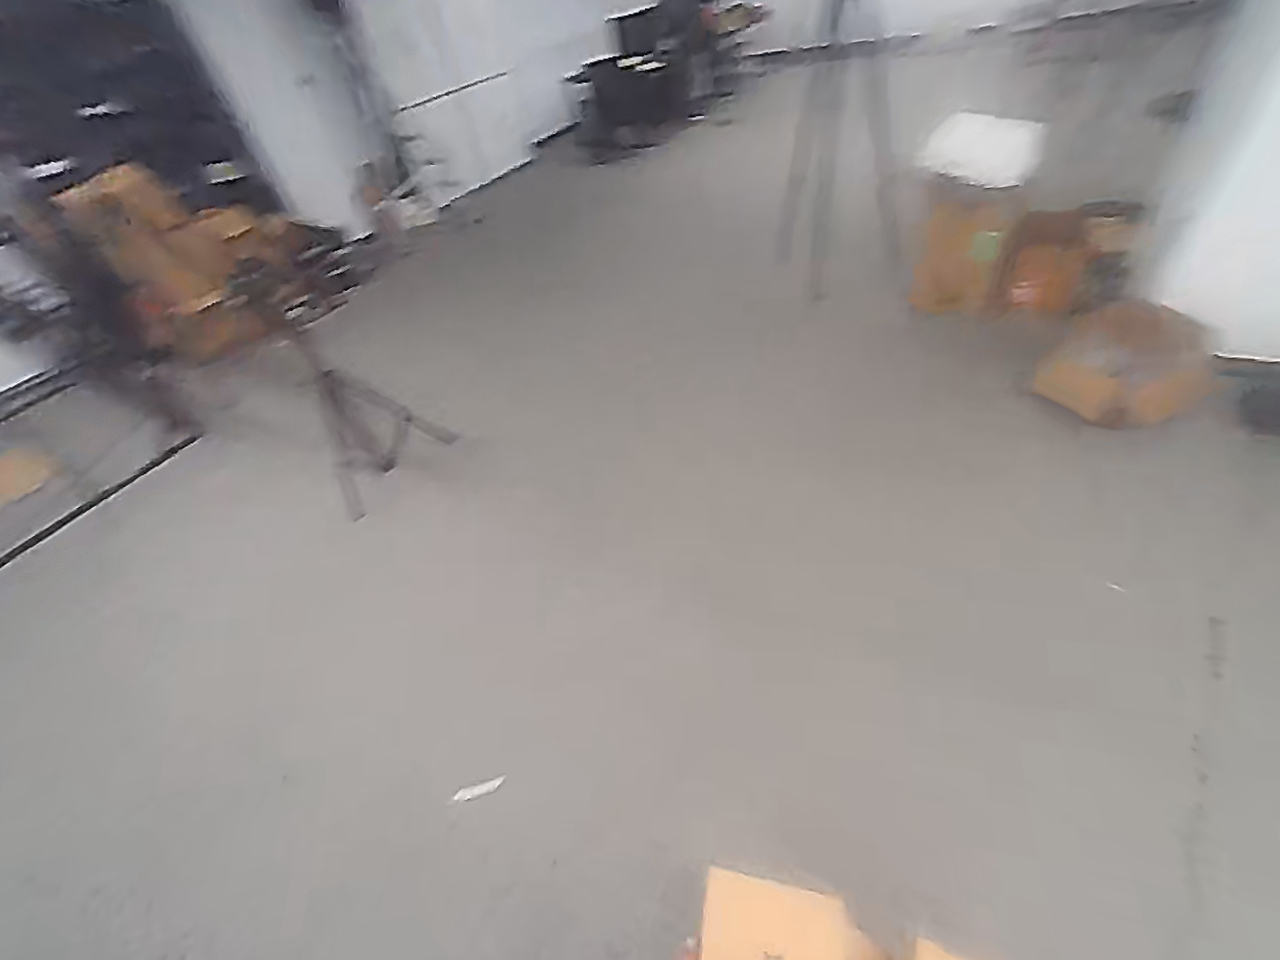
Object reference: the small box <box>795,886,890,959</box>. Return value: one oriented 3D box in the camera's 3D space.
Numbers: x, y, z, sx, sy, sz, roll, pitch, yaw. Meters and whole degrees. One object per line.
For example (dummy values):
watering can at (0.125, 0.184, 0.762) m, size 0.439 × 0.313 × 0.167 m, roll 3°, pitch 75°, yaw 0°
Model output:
small box at (0.343, 0.911, 1.009) m, size 0.179 × 0.176 × 0.168 m, roll 19°, pitch 53°, yaw 33°

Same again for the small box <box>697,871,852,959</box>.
small box at (0.153, 0.613, 0.658) m, size 0.168 × 0.176 × 0.179 m, roll 8°, pitch 48°, yaw 10°

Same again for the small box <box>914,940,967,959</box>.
small box at (0.487, 0.841, 0.800) m, size 0.168 × 0.176 × 0.179 m, roll 15°, pitch 50°, yaw 29°
